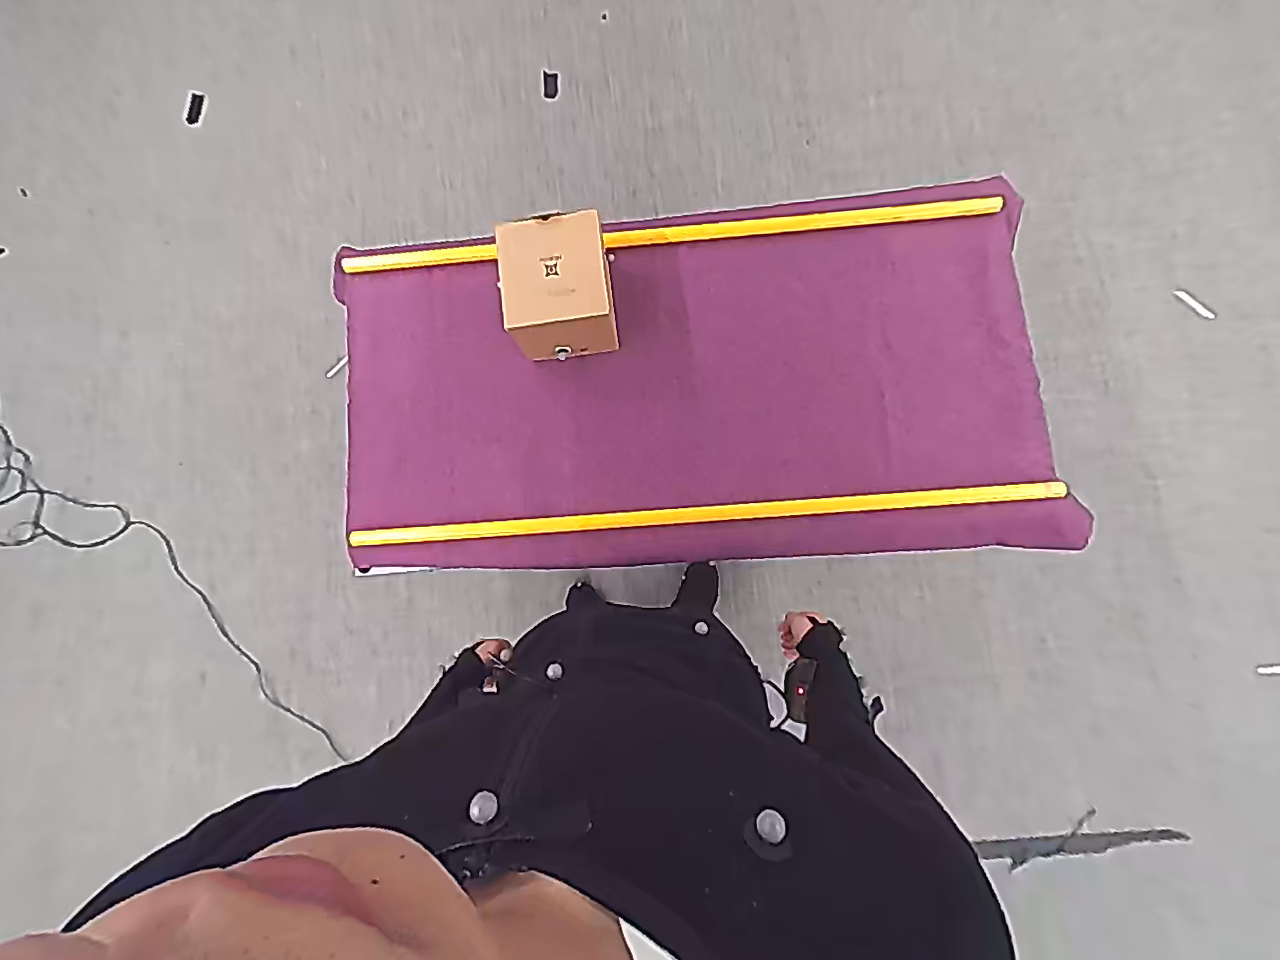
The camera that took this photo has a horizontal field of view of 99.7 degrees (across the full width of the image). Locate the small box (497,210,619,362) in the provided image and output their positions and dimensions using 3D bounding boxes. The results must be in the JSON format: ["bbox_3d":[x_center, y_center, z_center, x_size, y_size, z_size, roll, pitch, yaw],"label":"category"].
[{"bbox_3d":[-0.131,-0.317,0.911,0.168,0.176,0.179,-8,83,2],"label":"small box"}]
